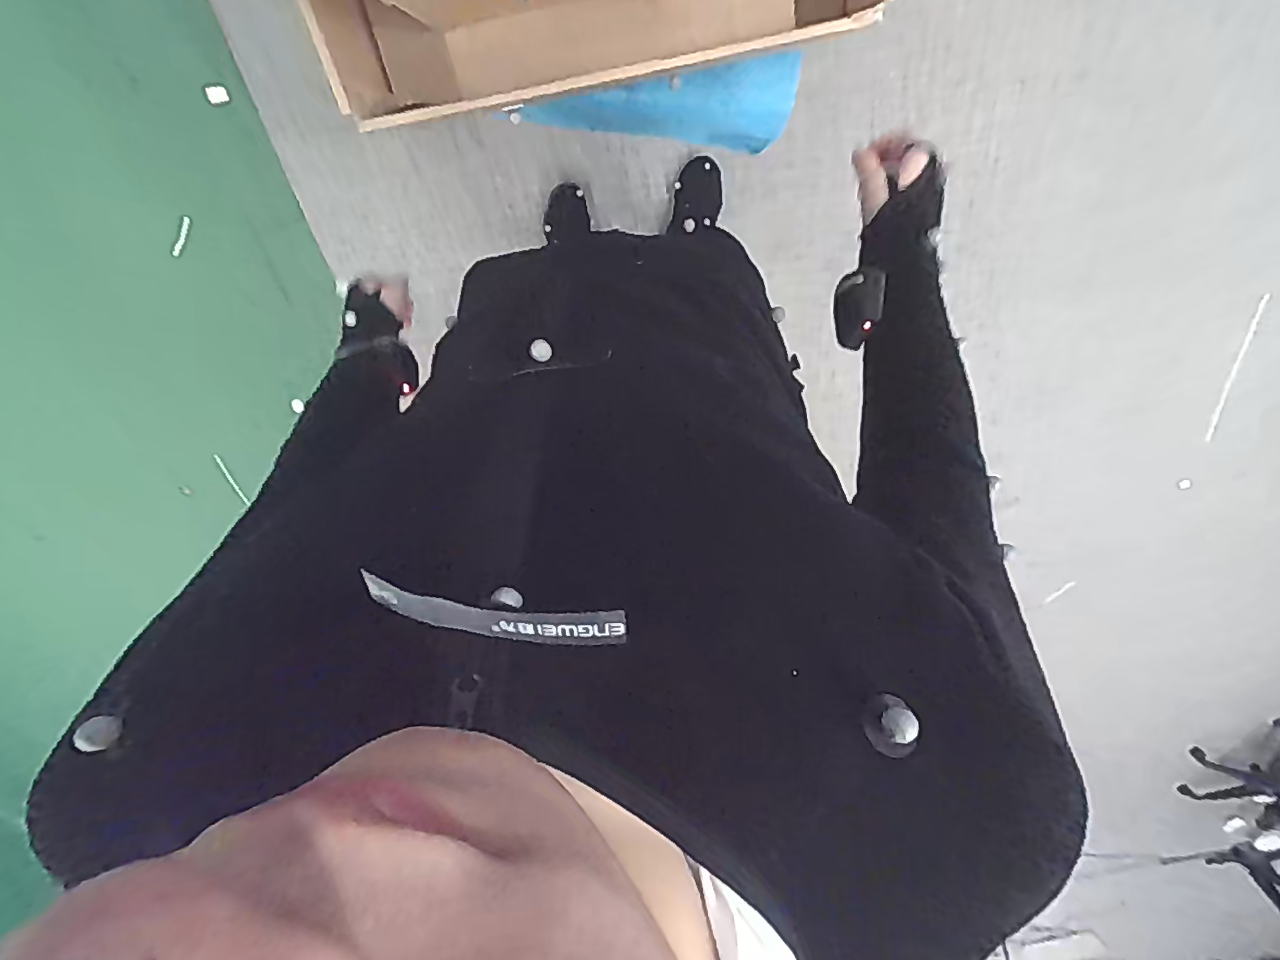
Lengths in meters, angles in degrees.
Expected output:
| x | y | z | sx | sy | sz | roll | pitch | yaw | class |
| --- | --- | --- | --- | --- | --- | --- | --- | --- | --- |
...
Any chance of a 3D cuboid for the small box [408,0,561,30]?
| x | y | z | sx | sy | sz | roll | pitch | yaw | class |
| --- | --- | --- | --- | --- | --- | --- | --- | --- | --- |
| -0.181 | -0.606 | 0.567 | 0.179 | 0.176 | 0.168 | -10 | 121 | 4 | small box |
